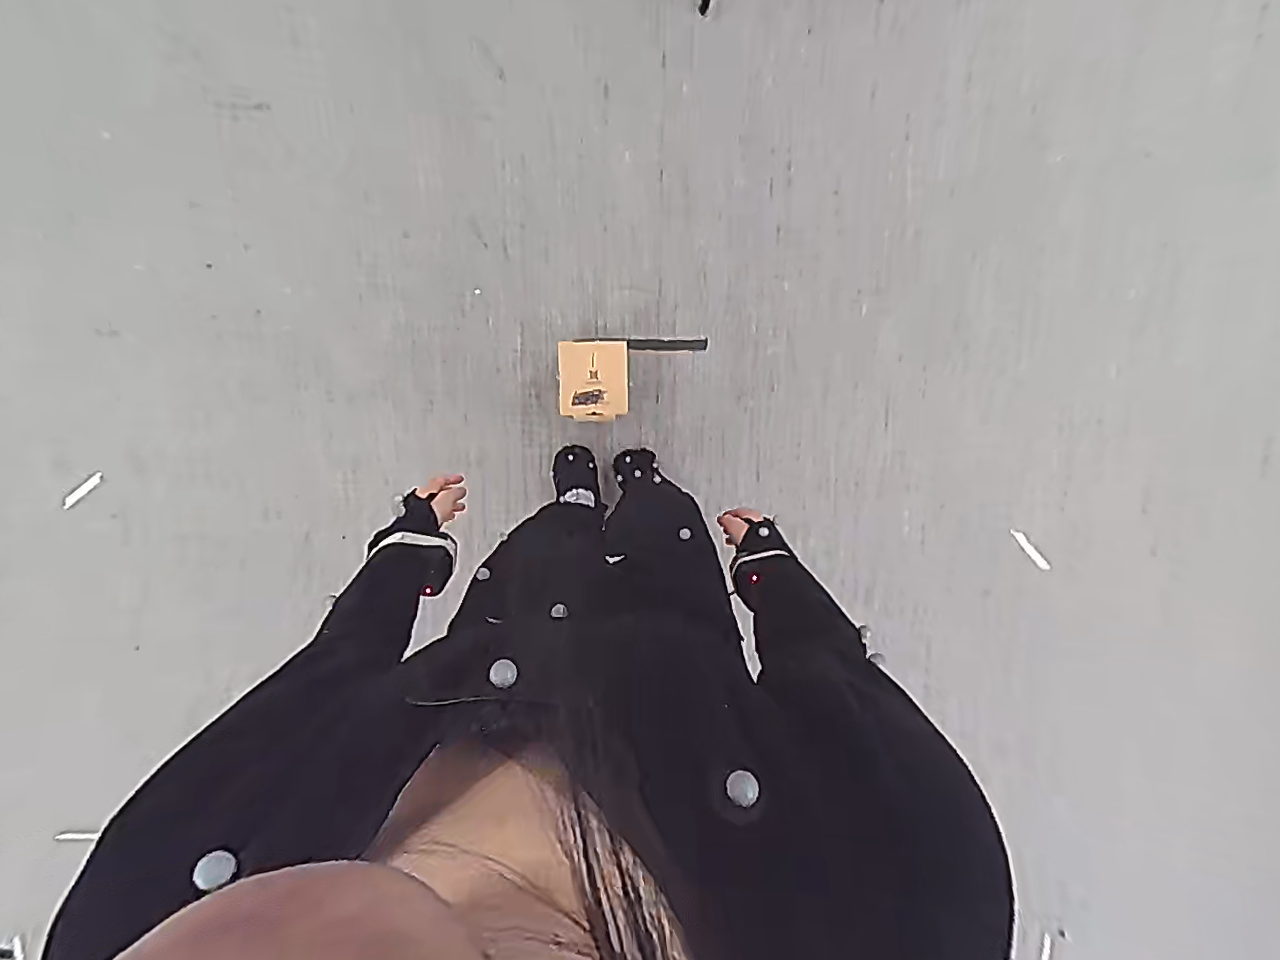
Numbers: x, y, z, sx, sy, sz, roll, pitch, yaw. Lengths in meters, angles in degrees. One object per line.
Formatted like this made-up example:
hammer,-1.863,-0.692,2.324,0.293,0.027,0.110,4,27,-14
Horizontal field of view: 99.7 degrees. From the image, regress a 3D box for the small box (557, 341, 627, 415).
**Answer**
small box,-0.116,-0.254,1.368,0.168,0.176,0.179,-1,97,-2
